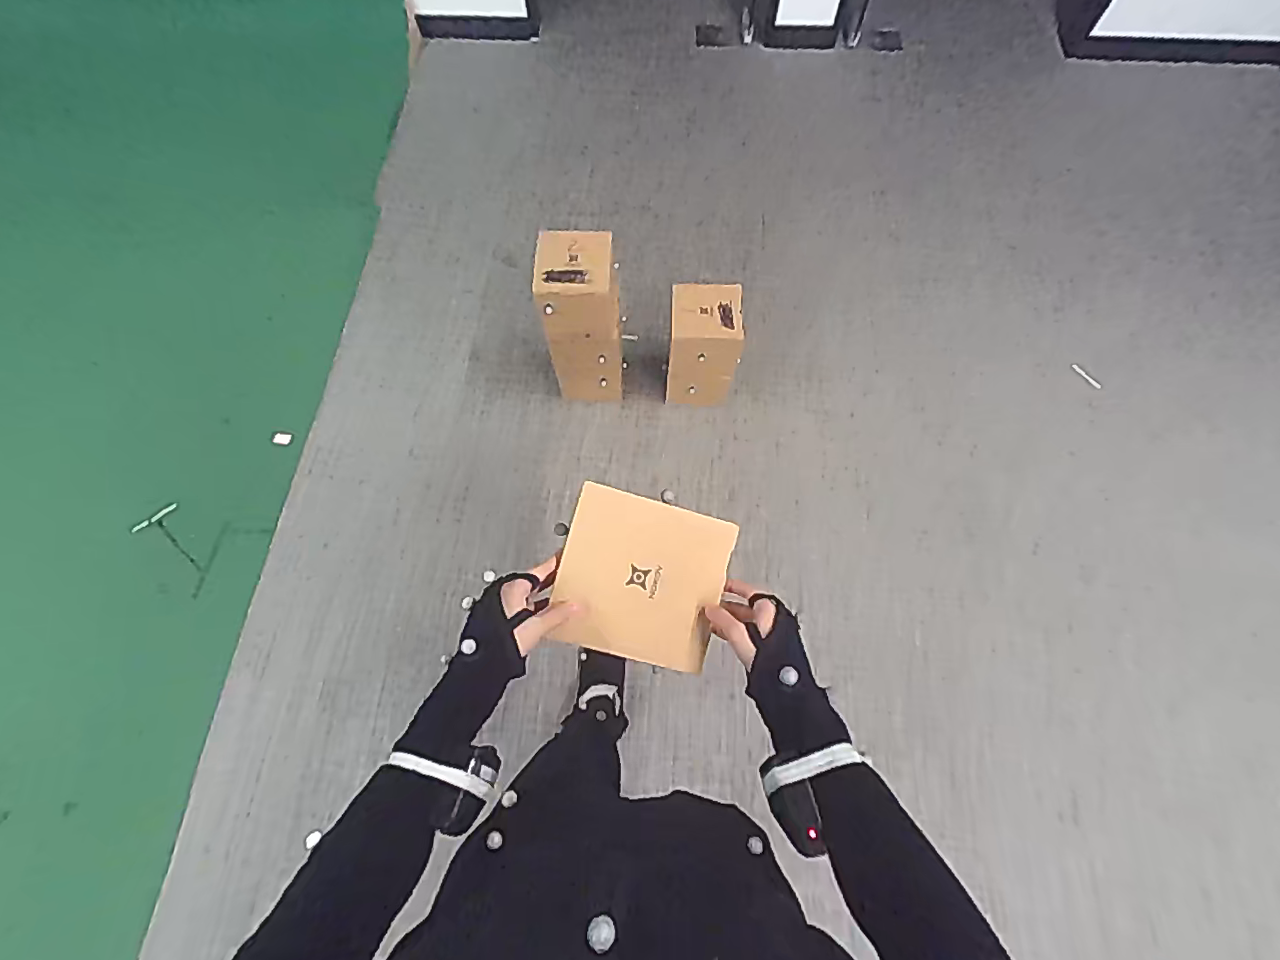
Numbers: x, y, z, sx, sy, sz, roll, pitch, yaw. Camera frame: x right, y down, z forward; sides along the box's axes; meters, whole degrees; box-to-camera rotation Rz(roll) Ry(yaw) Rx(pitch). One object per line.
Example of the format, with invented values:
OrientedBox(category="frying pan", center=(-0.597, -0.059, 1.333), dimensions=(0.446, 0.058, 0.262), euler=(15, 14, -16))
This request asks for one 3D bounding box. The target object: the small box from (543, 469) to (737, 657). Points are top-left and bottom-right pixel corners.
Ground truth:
OrientedBox(category="small box", center=(-0.008, 0.094, 0.655), dimensions=(0.179, 0.176, 0.168), euler=(17, 85, -8))

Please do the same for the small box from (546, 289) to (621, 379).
OrientedBox(category="small box", center=(-0.140, -0.378, 1.422), dimensions=(0.179, 0.176, 0.168), euler=(0, 68, 2))

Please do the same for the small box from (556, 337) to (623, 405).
OrientedBox(category="small box", center=(-0.141, -0.330, 1.578), dimensions=(0.179, 0.176, 0.168), euler=(0, 69, 1))
